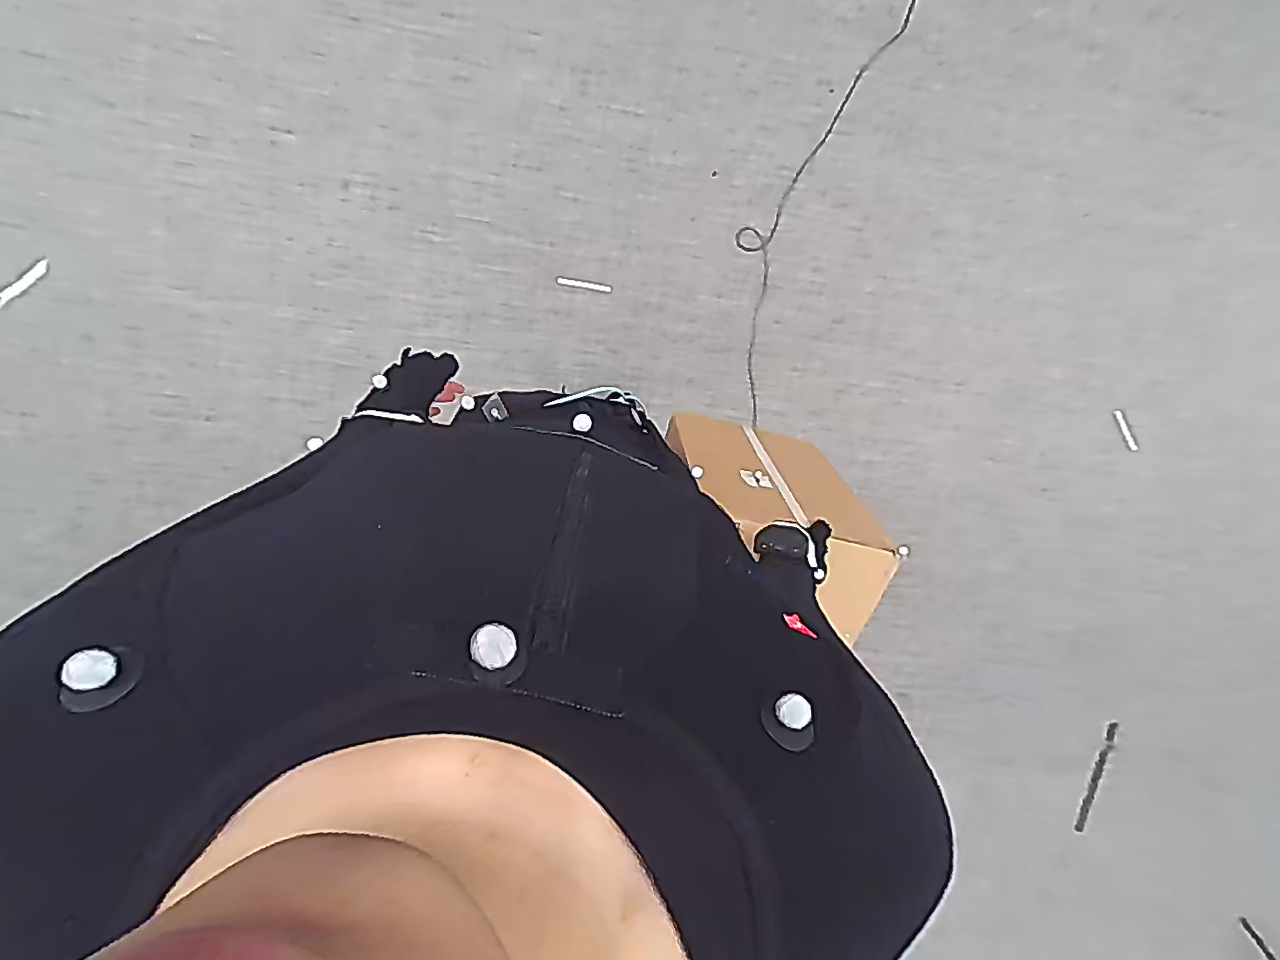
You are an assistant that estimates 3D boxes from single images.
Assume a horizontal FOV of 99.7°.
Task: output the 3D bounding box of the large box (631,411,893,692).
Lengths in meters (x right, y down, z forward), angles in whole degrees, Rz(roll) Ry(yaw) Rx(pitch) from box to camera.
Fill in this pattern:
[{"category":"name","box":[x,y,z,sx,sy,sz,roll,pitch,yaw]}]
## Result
[{"category":"large box","box":[0.177,0.114,1.009,0.320,0.408,0.320,12,117,-9]}]
